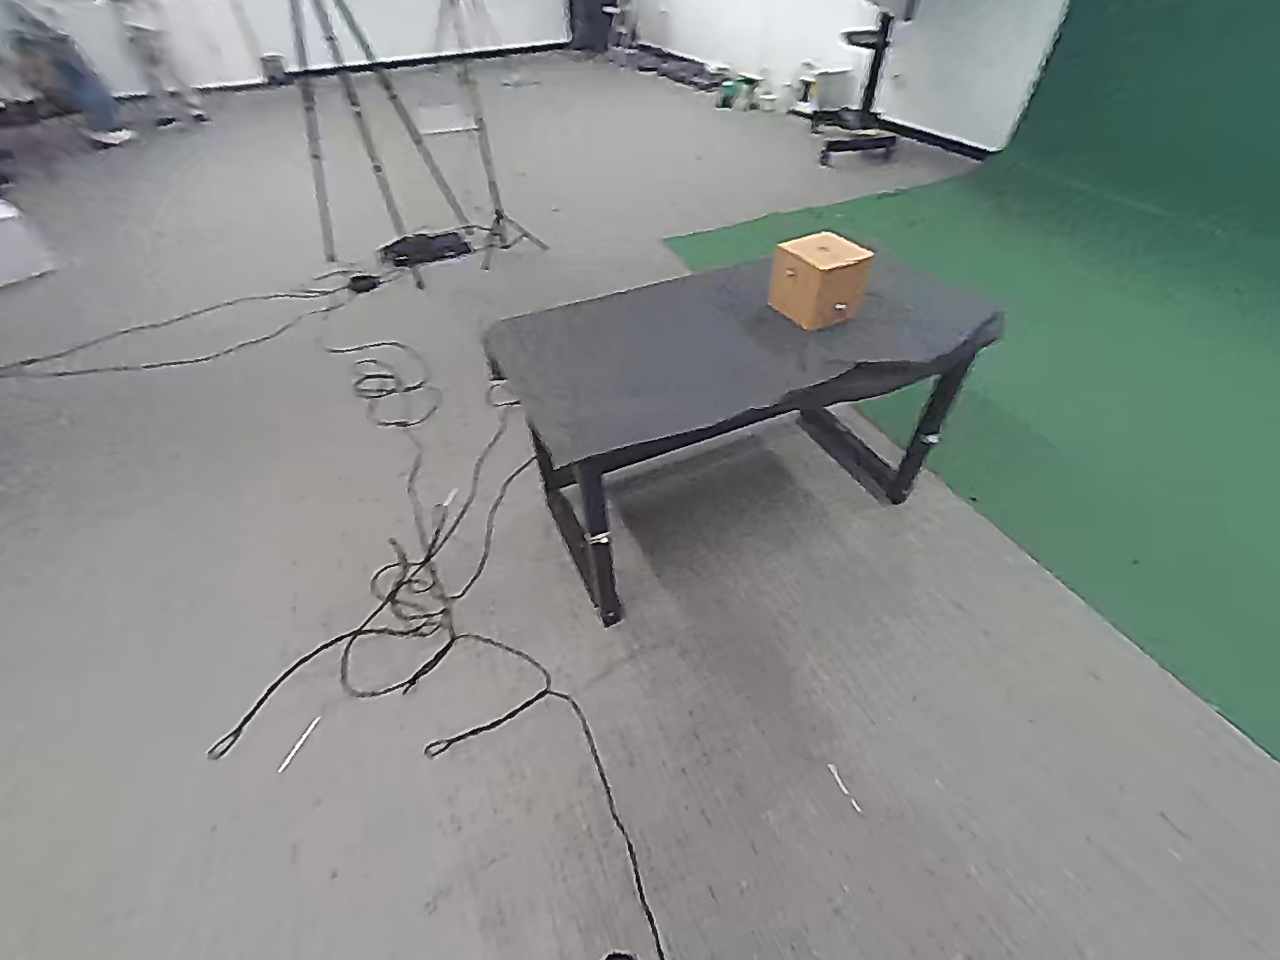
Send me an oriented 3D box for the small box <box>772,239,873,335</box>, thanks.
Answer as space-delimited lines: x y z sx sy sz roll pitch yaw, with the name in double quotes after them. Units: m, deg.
0.468 -0.507 1.420 0.168 0.176 0.179 -22 49 -17 "small box"
